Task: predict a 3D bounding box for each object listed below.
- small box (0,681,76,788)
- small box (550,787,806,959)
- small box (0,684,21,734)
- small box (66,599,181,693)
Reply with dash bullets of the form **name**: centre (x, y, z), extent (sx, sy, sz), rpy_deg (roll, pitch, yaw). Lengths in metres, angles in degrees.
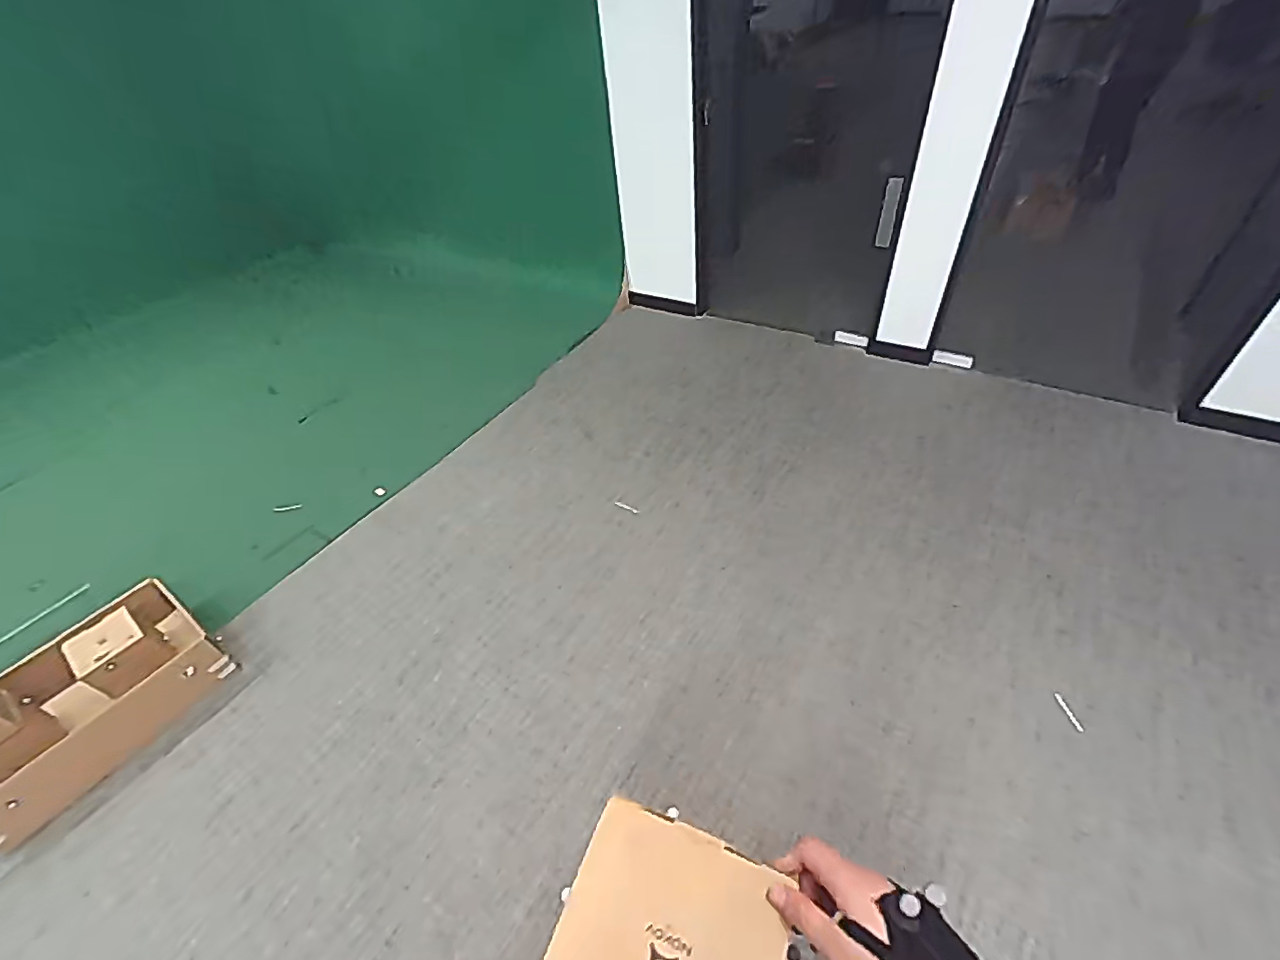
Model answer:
- **small box**: centre (-1.678, 0.678, 1.433), extent (0.179, 0.176, 0.168), rpy_deg (22, 50, 26)
- **small box**: centre (0.032, 0.399, 0.458), extent (0.168, 0.176, 0.179), rpy_deg (13, 55, 20)
- **small box**: centre (-1.684, 0.567, 1.311), extent (0.179, 0.176, 0.168), rpy_deg (23, 50, 27)
- **small box**: centre (-1.529, 0.496, 1.607), extent (0.179, 0.176, 0.168), rpy_deg (27, 54, 29)
